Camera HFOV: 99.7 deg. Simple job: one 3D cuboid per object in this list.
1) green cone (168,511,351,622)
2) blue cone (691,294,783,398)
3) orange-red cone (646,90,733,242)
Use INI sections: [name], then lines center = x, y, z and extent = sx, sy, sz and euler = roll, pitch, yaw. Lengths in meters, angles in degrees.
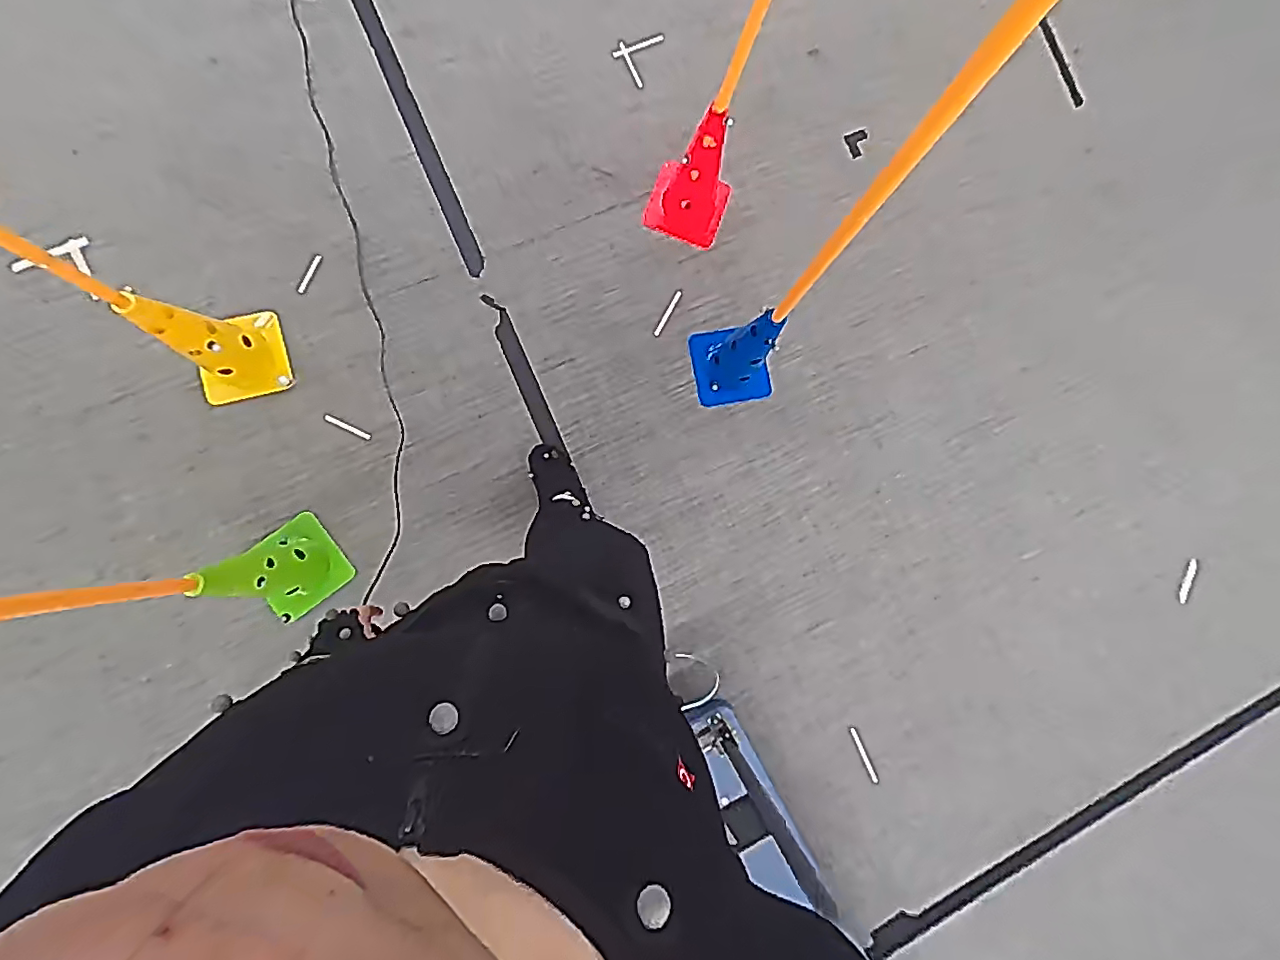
[green cone]
center = -0.796, 0.187, 1.098
extent = 0.200, 0.368, 0.202
euler = -38, 89, -8
[blue cone]
center = 0.254, -0.329, 1.263
extent = 0.193, 0.380, 0.192
euler = -9, 86, -6
[orange-red cone]
center = 0.148, -0.760, 1.270
extent = 0.198, 0.360, 0.199
euler = 21, 85, -3
